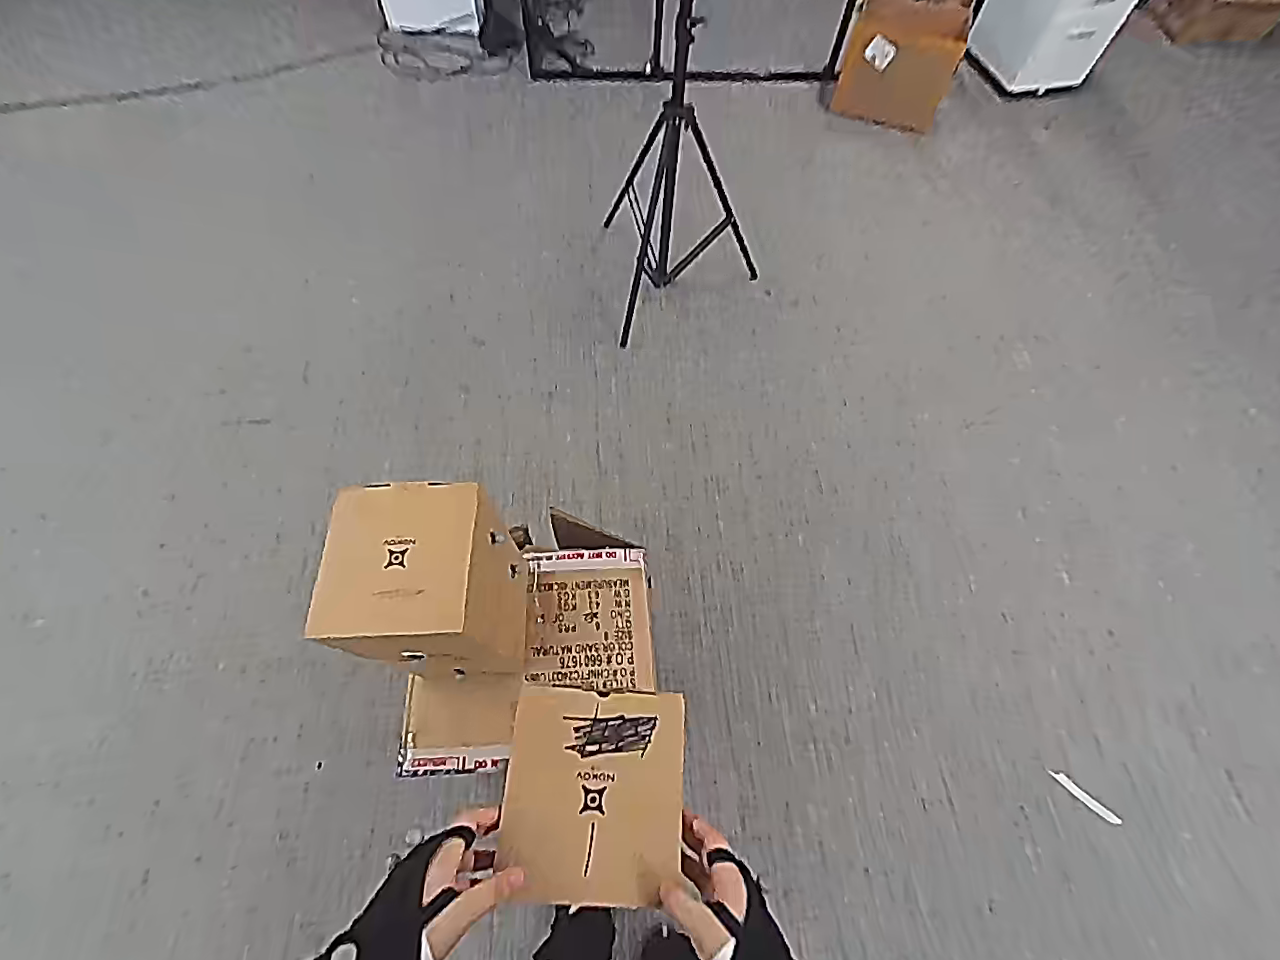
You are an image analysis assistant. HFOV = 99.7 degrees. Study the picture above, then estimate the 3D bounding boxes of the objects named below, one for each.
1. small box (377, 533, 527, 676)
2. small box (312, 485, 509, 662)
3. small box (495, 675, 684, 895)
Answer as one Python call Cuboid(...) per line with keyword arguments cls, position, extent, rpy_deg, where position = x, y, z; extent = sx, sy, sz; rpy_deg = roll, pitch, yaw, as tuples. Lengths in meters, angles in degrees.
Cuboid(cls="small box", position=(-0.268, 0.192, 0.815), extent=(0.168, 0.176, 0.179), rpy_deg=(-2, 64, -2))
Cuboid(cls="small box", position=(-0.263, 0.120, 0.669), extent=(0.168, 0.176, 0.179), rpy_deg=(-2, 65, -1))
Cuboid(cls="small box", position=(-0.052, 0.317, 0.581), extent=(0.168, 0.176, 0.179), rpy_deg=(6, 64, -5))
